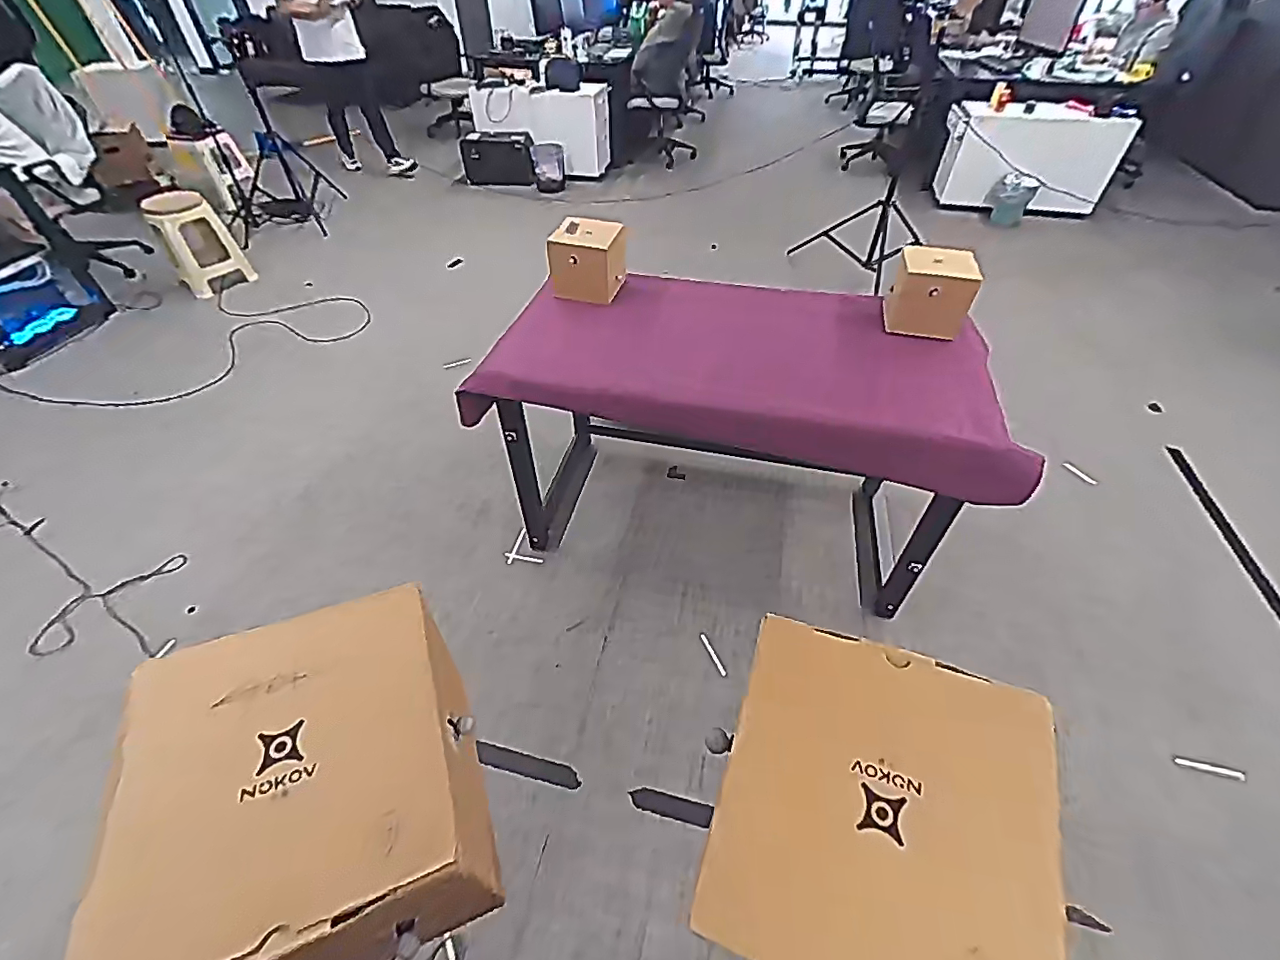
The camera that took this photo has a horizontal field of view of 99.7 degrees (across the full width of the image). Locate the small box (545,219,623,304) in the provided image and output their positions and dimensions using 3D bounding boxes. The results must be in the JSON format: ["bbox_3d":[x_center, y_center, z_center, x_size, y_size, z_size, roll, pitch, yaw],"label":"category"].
[{"bbox_3d":[-0.154,-0.627,1.559,0.179,0.176,0.168,12,49,10],"label":"small box"}]

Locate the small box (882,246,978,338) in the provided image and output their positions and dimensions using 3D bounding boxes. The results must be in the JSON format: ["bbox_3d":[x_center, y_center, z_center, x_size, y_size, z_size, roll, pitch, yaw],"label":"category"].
[{"bbox_3d":[0.749,-0.492,1.422,0.179,0.176,0.168,11,48,9],"label":"small box"}]

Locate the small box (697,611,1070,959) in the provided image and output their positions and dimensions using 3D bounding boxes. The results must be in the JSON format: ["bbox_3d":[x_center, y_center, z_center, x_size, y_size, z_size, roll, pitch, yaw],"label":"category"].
[{"bbox_3d":[0.142,0.219,0.354,0.168,0.176,0.179,13,54,16],"label":"small box"}]

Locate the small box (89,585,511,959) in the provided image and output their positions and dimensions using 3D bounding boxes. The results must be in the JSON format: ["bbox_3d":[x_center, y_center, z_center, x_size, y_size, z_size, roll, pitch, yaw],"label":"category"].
[{"bbox_3d":[-0.191,0.206,0.355,0.168,0.176,0.179,-16,49,-18],"label":"small box"}]
